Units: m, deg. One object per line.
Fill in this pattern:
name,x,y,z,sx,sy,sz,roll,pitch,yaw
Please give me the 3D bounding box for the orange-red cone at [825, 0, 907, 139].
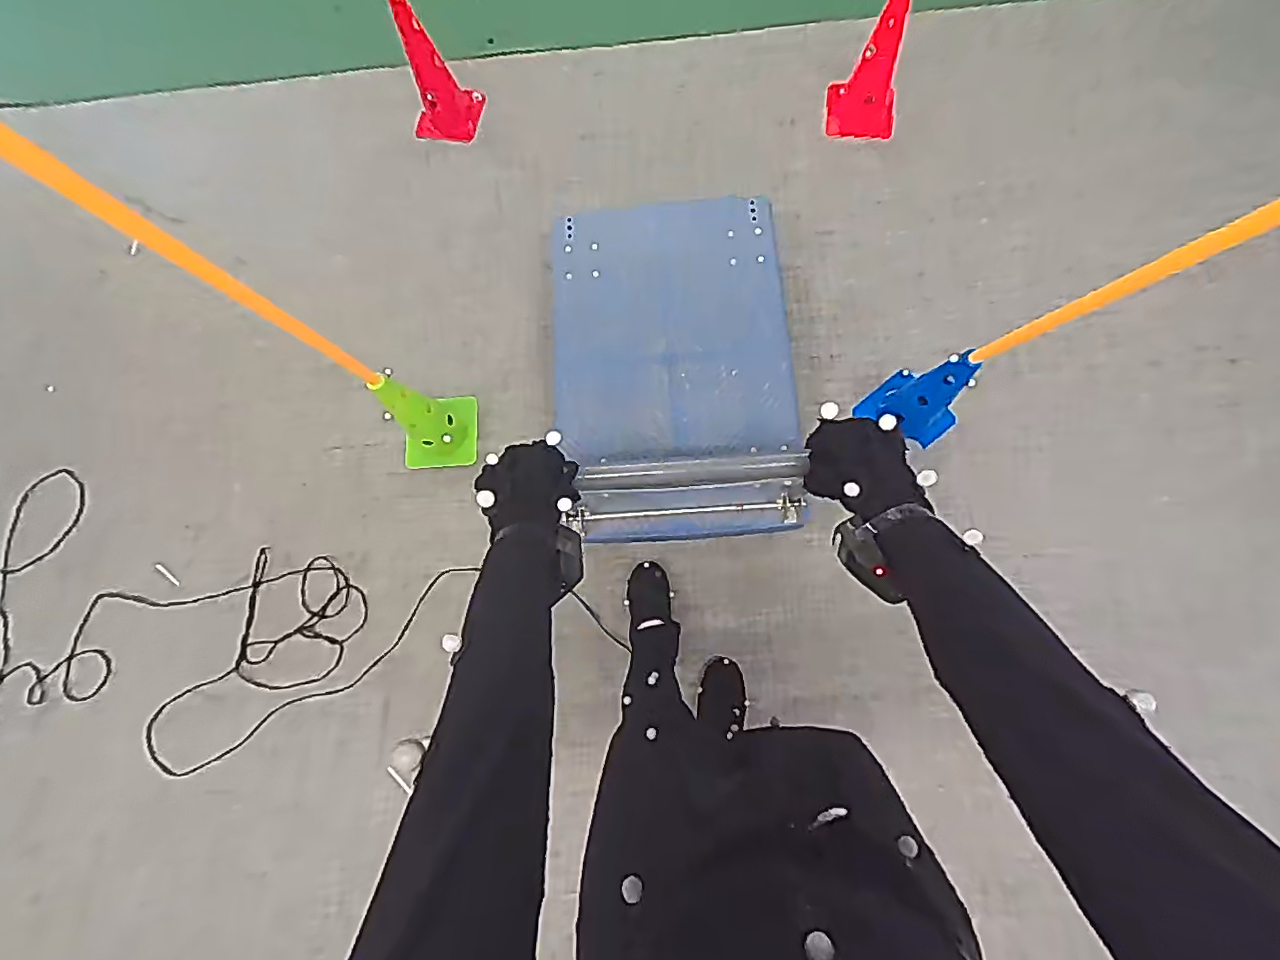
orange-red cone,0.652,-1.156,1.475,0.198,0.360,0.199,8,78,7
